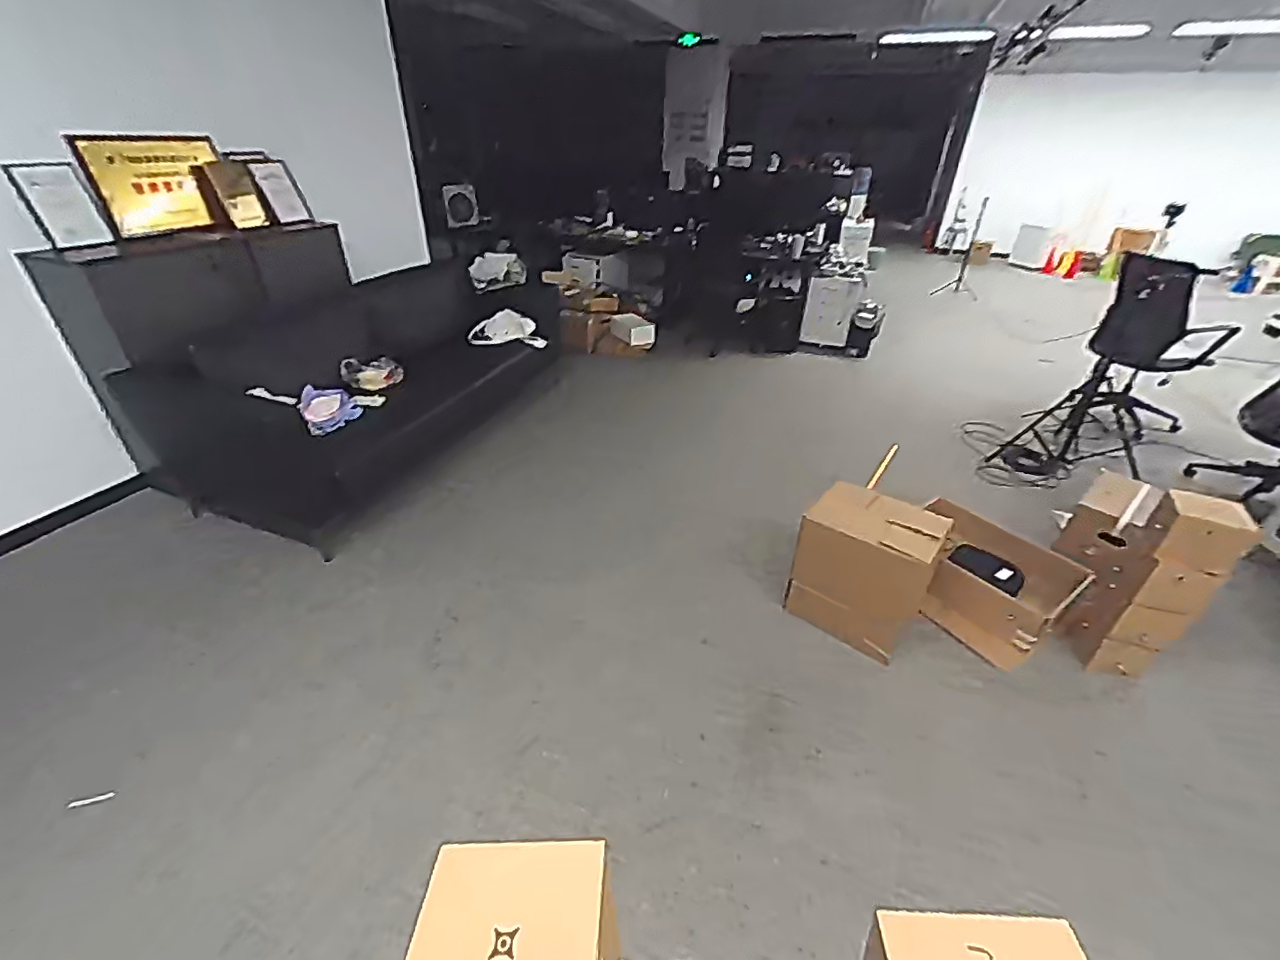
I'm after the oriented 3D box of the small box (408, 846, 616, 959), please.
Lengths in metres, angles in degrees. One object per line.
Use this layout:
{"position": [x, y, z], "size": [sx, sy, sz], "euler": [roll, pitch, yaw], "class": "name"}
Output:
{"position": [-0.113, 0.478, 0.500], "size": [0.168, 0.176, 0.179], "euler": [-3, 28, 3], "class": "small box"}
